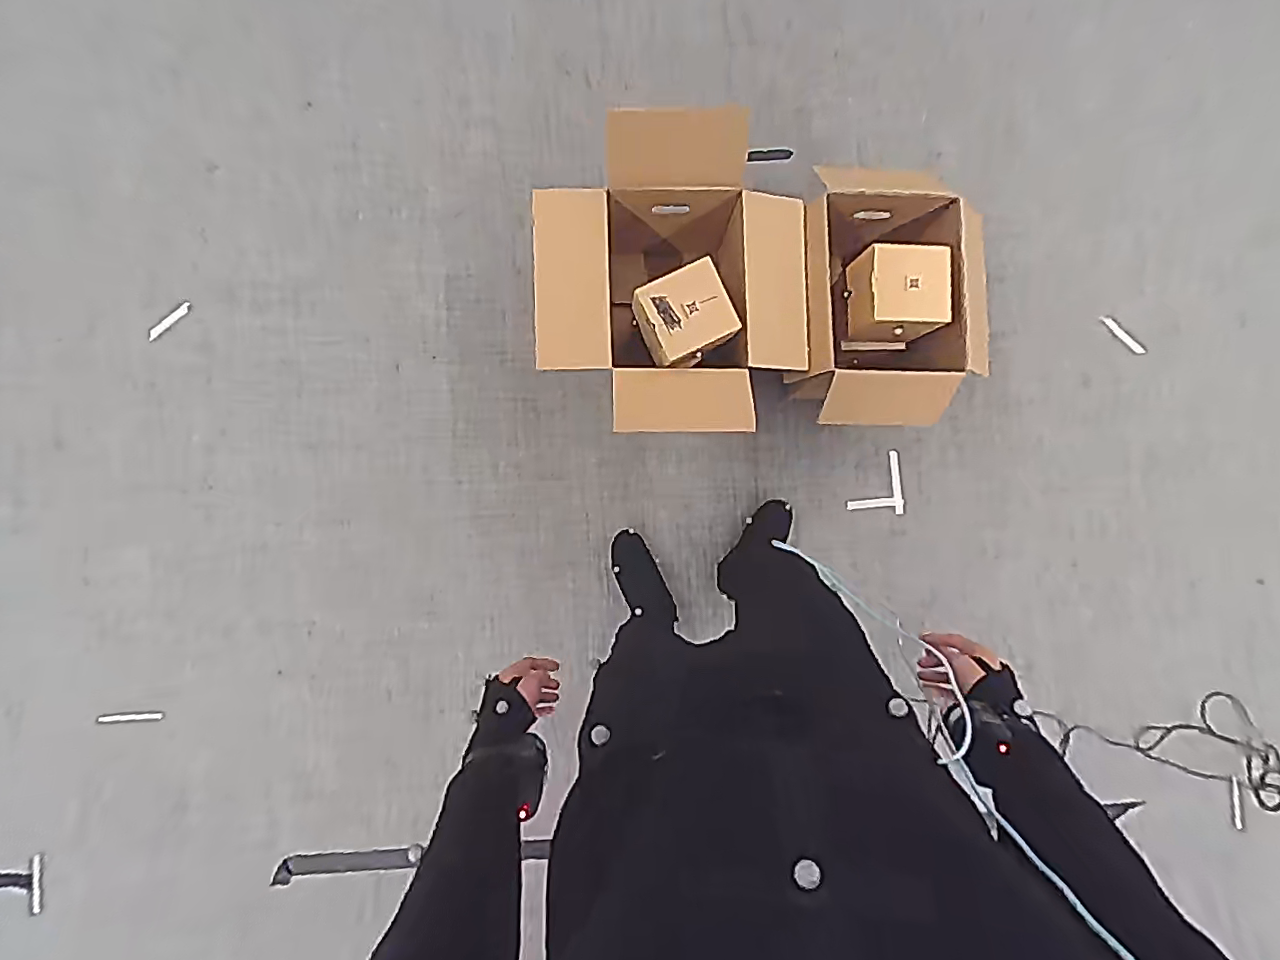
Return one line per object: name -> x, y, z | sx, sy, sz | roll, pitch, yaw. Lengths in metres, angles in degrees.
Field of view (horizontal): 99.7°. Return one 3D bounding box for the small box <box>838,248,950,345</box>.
small box -> 0.572, -0.410, 1.232 | 0.179, 0.176, 0.168 | 0, 89, -3
